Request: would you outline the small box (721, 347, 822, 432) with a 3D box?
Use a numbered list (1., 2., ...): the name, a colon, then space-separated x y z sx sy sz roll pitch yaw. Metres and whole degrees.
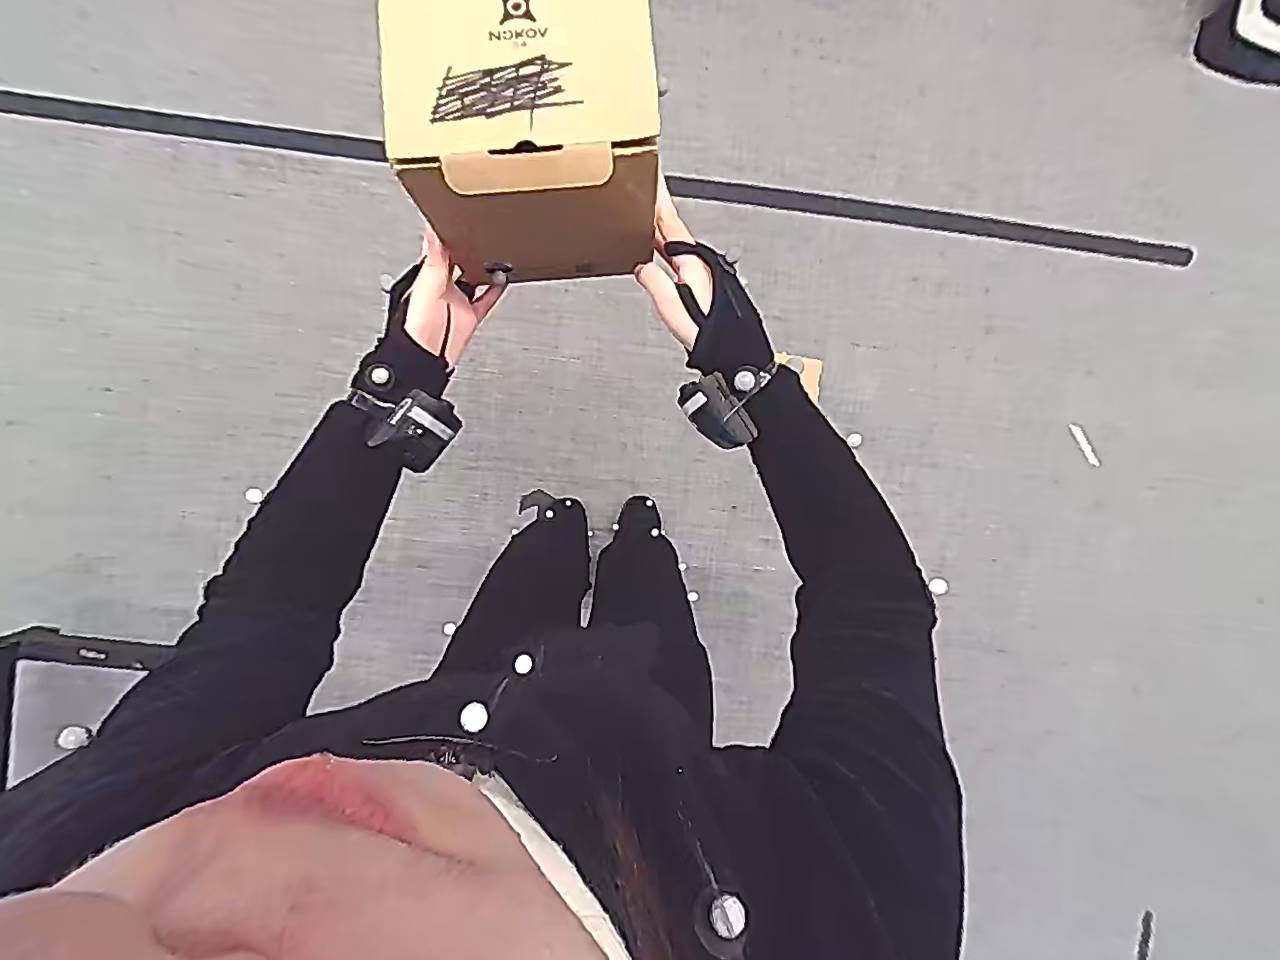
1. small box: 0.309 -0.210 1.300 0.179 0.176 0.168 10 93 -4
